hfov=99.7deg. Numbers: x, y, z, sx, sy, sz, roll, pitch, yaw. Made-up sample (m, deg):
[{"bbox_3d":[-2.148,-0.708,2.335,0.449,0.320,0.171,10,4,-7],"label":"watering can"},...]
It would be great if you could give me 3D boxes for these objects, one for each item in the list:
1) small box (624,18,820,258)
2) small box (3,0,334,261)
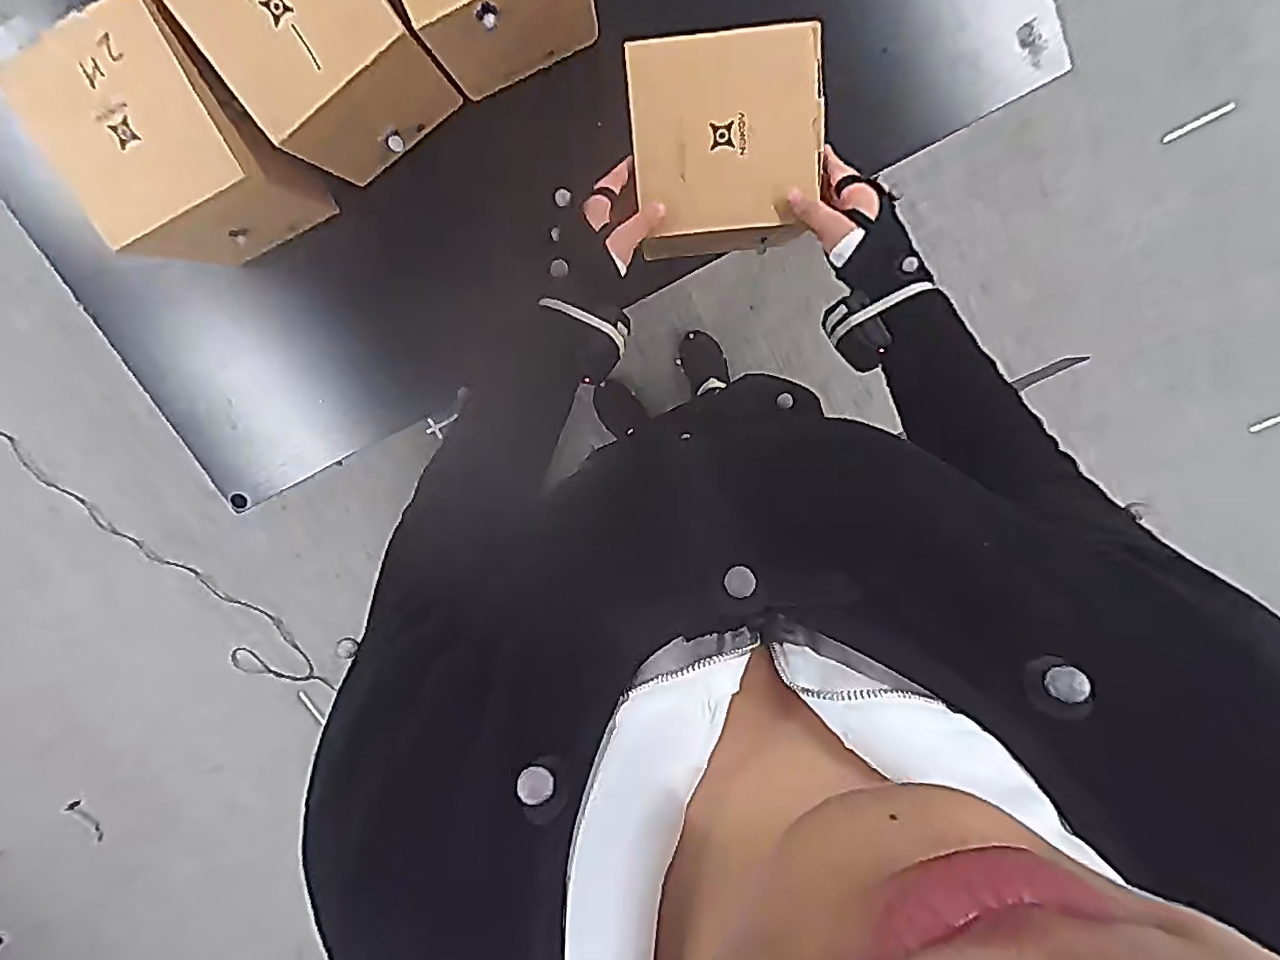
[{"bbox_3d":[0.081,-0.343,0.578,0.179,0.176,0.168,-5,104,4],"label":"small box"},{"bbox_3d":[-0.483,-0.356,0.590,0.168,0.176,0.179,-24,103,7],"label":"small box"}]
